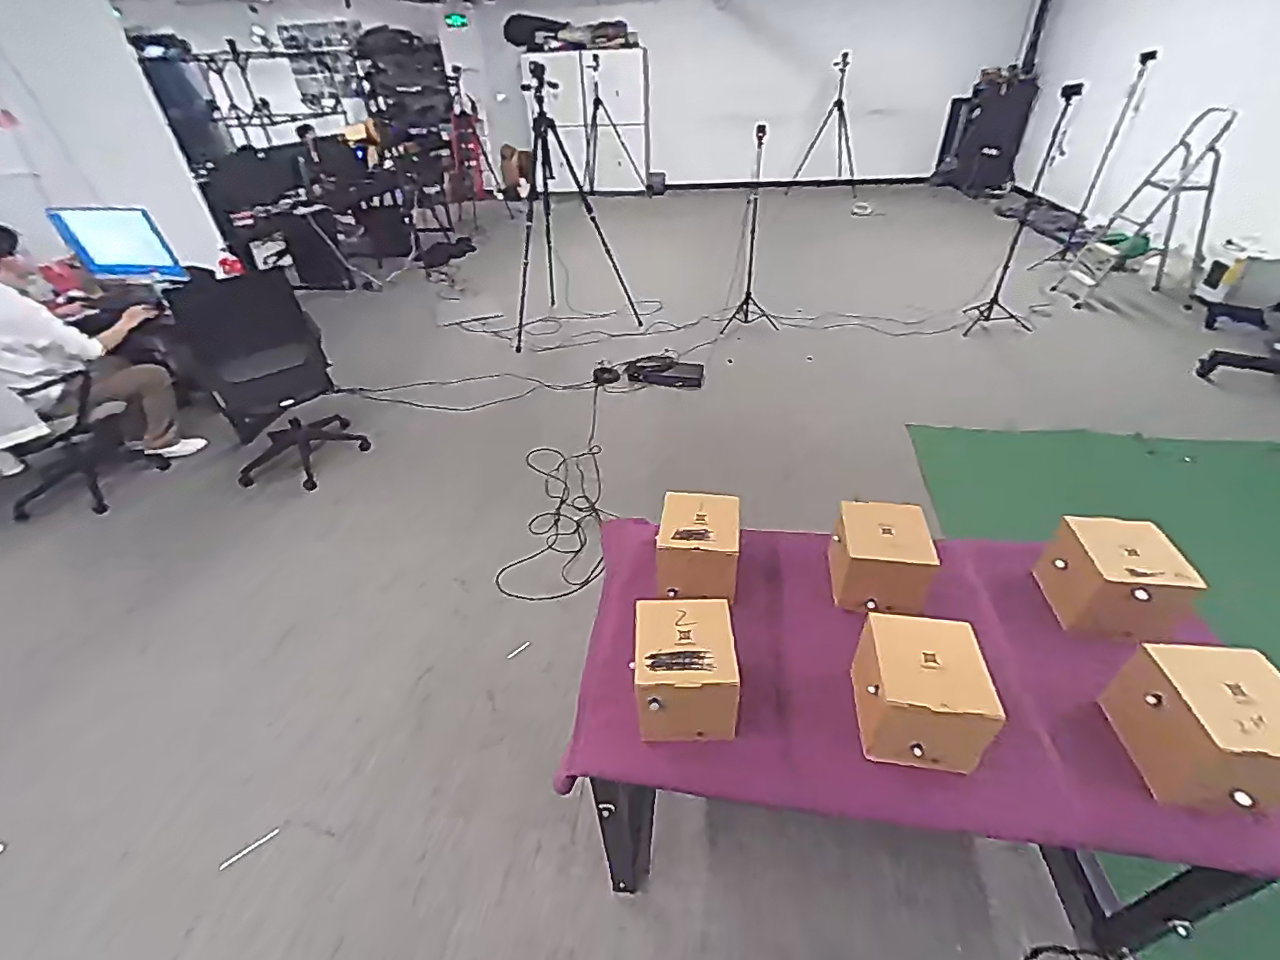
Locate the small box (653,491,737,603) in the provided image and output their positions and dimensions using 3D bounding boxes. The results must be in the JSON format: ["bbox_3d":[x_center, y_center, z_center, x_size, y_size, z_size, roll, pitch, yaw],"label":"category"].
[{"bbox_3d":[0.122,0.148,1.188,0.168,0.176,0.179,5,40,7],"label":"small box"}]

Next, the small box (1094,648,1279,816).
[{"bbox_3d":[0.874,0.391,0.849,0.168,0.176,0.179,2,38,7],"label":"small box"}]

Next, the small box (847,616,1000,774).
[{"bbox_3d":[0.460,0.360,0.914,0.168,0.176,0.179,5,38,8],"label":"small box"}]

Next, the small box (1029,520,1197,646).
[{"bbox_3d":[0.927,0.205,1.086,0.168,0.176,0.179,4,39,8],"label":"small box"}]

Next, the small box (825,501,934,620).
[{"bbox_3d":[0.497,0.169,1.152,0.168,0.176,0.179,5,40,9],"label":"small box"}]
